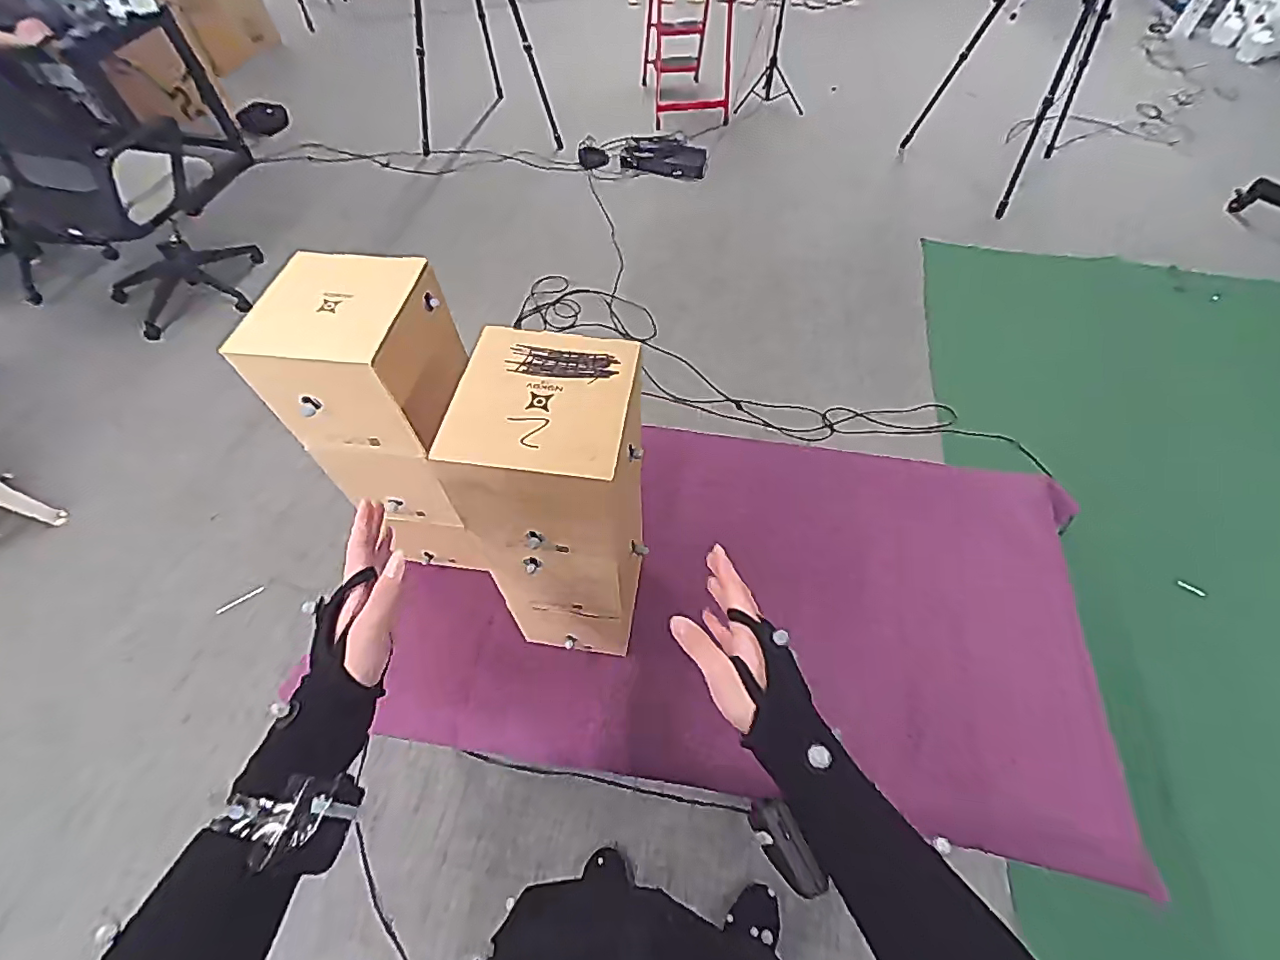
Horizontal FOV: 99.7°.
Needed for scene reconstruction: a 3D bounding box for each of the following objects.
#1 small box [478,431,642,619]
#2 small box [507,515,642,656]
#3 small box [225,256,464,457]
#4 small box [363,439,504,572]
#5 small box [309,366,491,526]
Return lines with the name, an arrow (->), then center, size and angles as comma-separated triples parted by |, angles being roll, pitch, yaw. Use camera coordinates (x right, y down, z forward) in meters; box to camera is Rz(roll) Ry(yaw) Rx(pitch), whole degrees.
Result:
small box -> -0.091, 0.062, 0.713 | 0.168, 0.176, 0.179 | 7, 56, 6
small box -> -0.091, 0.155, 0.847 | 0.168, 0.176, 0.179 | 7, 57, 6
small box -> -0.335, -0.145, 0.659 | 0.168, 0.176, 0.179 | 5, 56, 5
small box -> -0.332, 0.038, 0.929 | 0.168, 0.176, 0.179 | 6, 57, 5
small box -> -0.332, -0.055, 0.794 | 0.168, 0.176, 0.179 | 6, 57, 5
